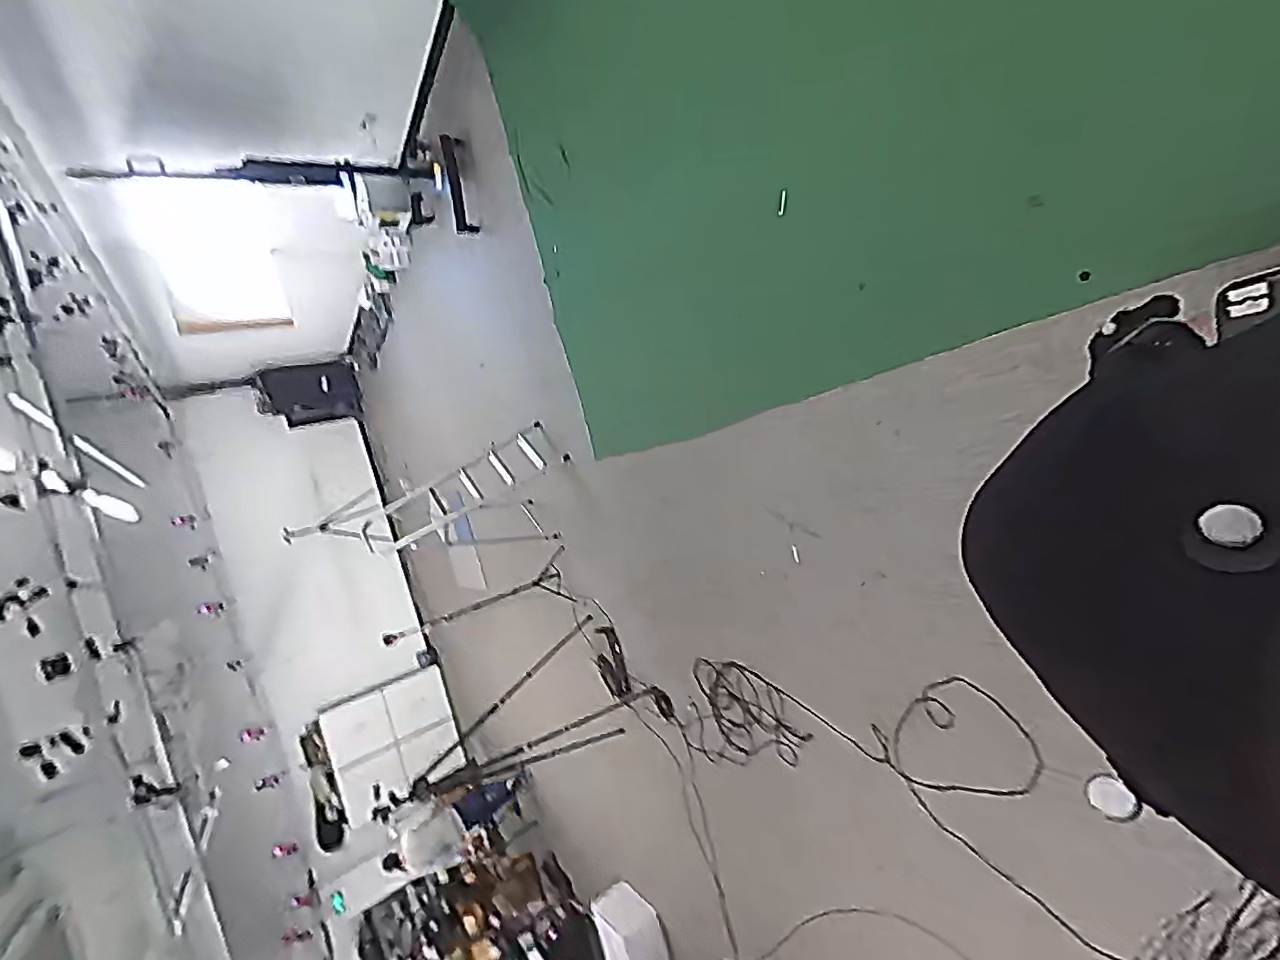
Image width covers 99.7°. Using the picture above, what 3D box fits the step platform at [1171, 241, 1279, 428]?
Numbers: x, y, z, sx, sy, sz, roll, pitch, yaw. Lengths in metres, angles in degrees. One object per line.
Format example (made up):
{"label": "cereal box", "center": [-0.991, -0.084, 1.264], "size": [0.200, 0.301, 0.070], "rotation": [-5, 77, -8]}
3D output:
{"label": "step platform", "center": [1.203, -0.290, 0.716], "size": [0.684, 0.204, 0.286], "rotation": [-16, 92, 56]}
